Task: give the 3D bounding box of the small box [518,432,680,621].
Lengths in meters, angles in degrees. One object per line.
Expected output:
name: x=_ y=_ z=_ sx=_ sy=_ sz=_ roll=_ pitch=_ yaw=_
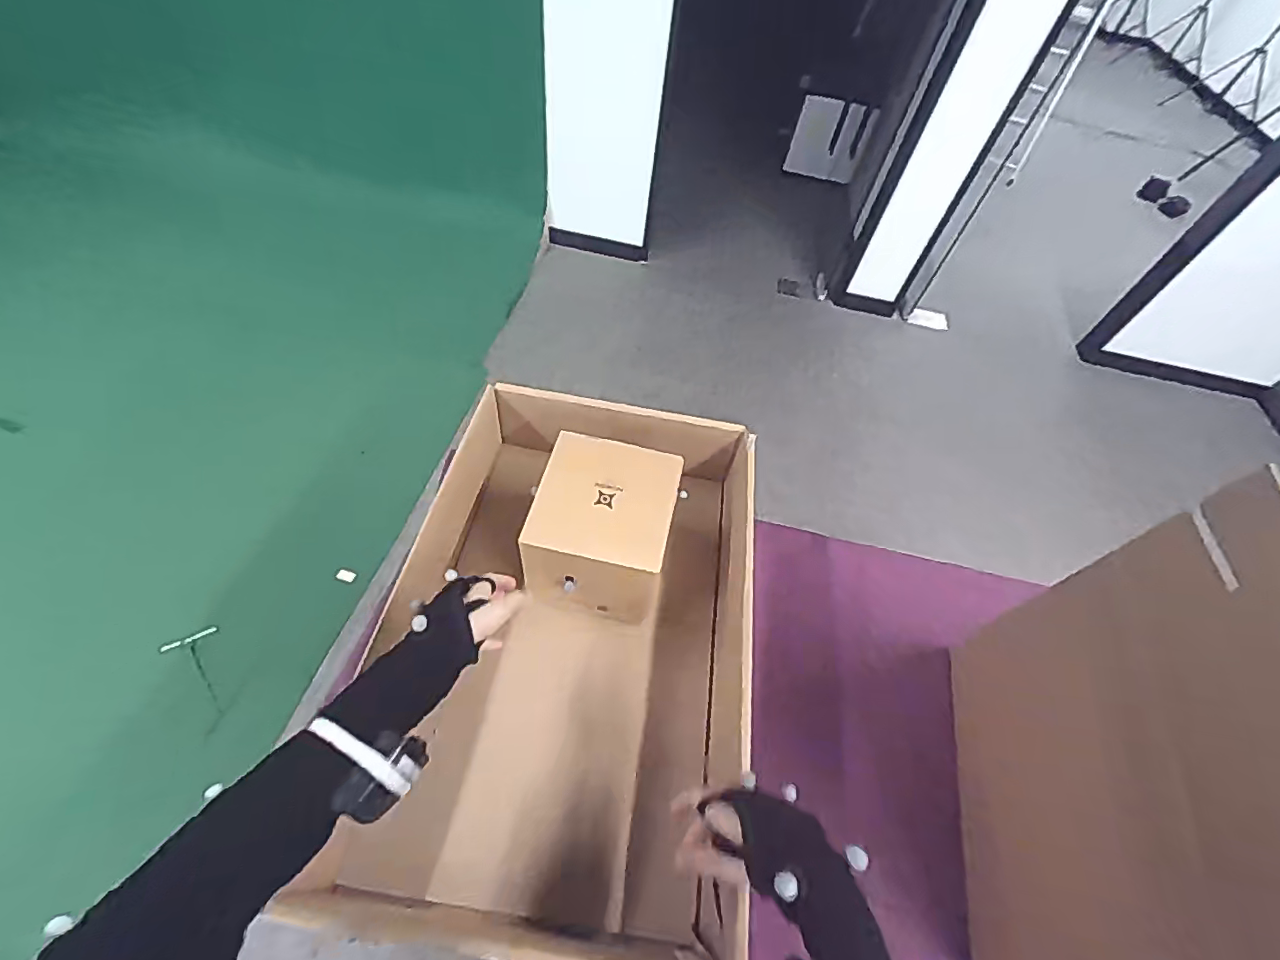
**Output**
small box: x=-0.049 y=0.068 z=0.721 sx=0.168 sy=0.176 sz=0.179 roll=12 pitch=54 yaw=2
